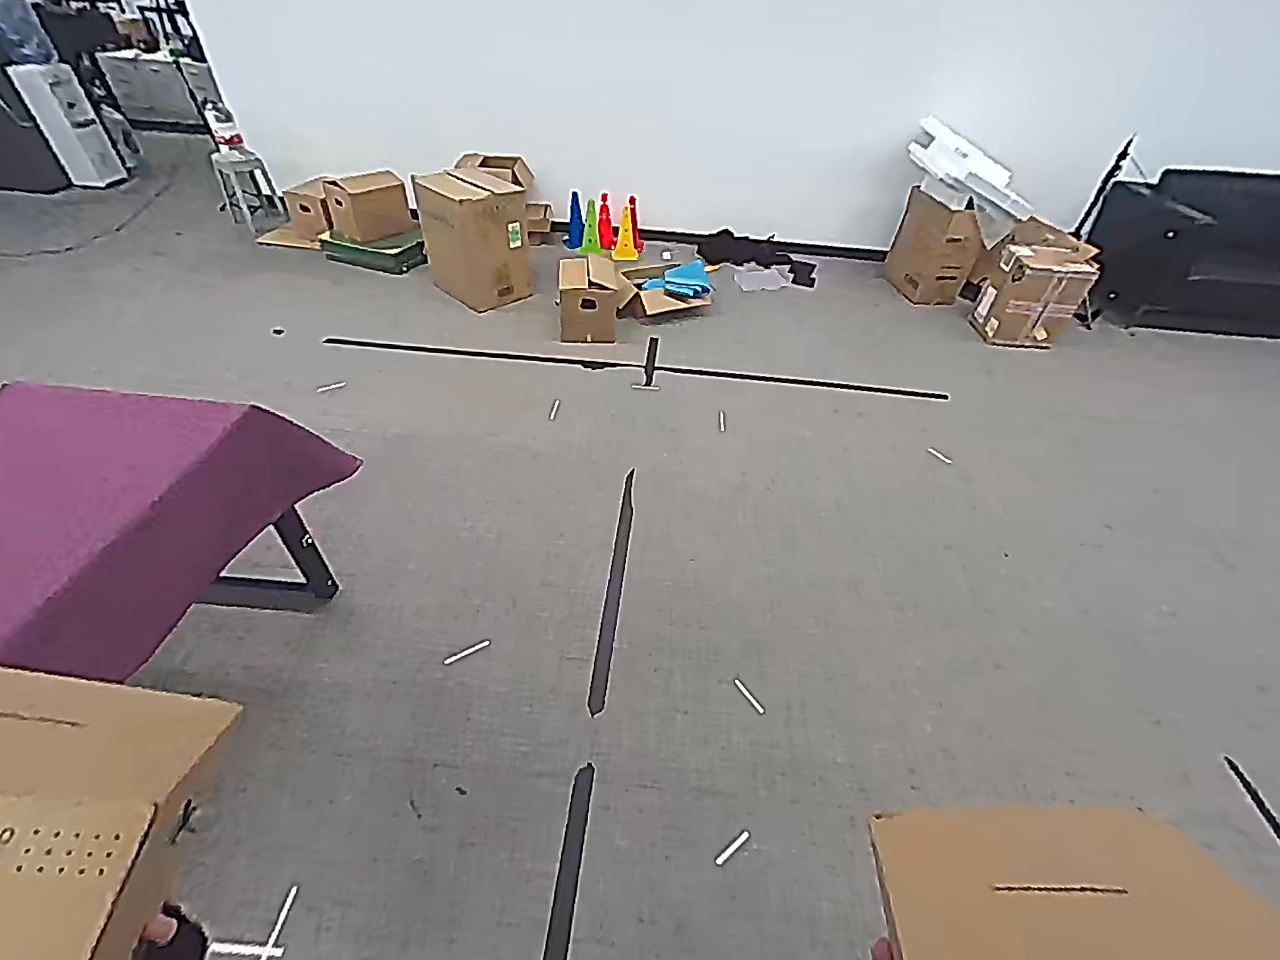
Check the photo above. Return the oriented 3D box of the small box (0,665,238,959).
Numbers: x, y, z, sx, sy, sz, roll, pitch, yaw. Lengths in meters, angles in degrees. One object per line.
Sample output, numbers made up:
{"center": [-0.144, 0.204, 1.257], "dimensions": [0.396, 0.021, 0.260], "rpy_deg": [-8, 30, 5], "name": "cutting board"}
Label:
{"center": [-0.325, 0.187, 0.247], "dimensions": [0.168, 0.179, 0.176], "rpy_deg": [21, 73, -22], "name": "small box"}
